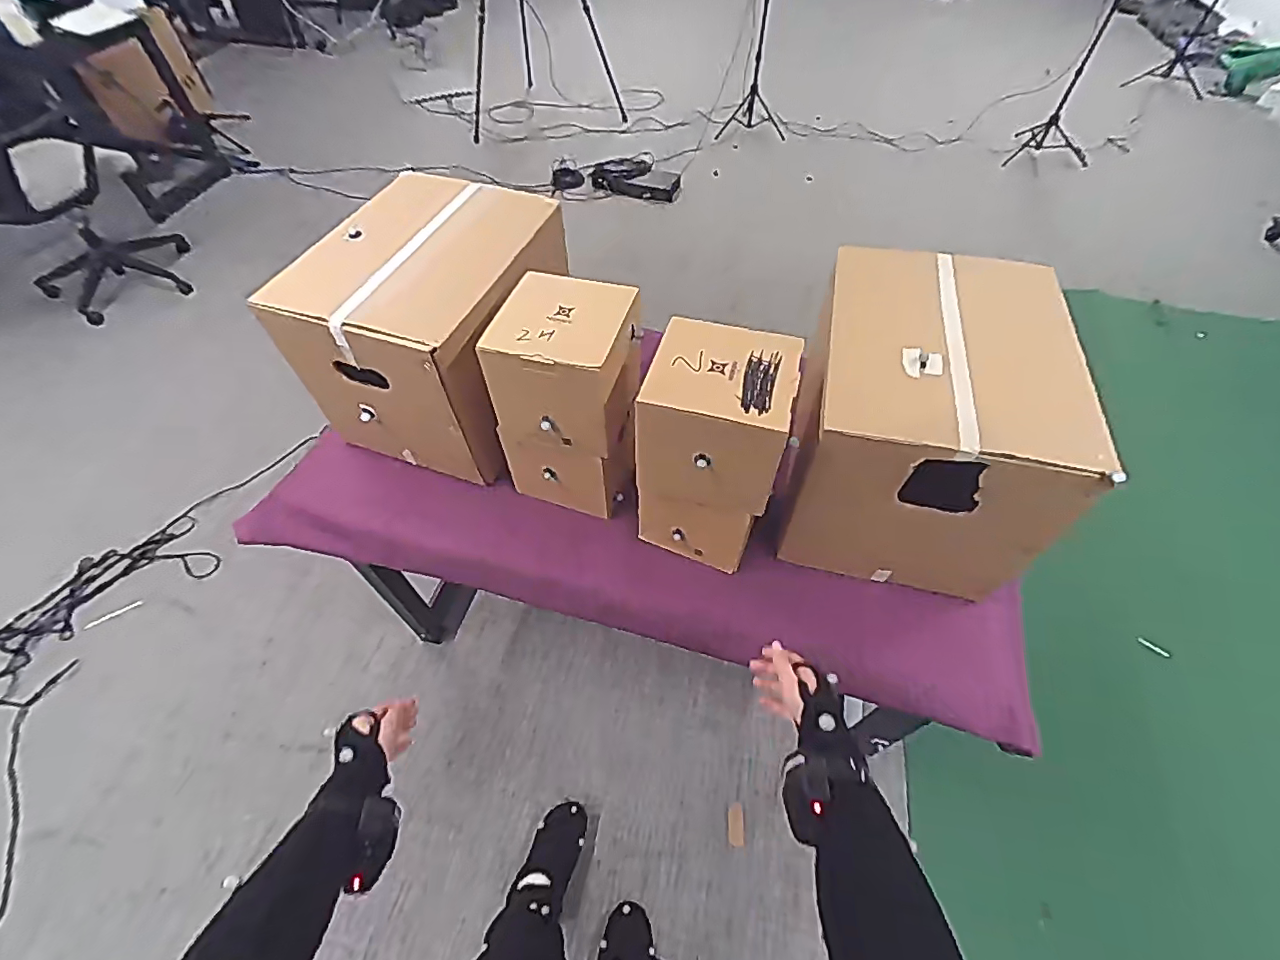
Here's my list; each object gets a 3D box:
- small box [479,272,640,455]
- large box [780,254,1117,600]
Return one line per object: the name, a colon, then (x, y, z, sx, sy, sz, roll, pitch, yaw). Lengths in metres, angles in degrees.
small box: (-0.102, -0.165, 0.771, 0.168, 0.176, 0.179, 12, 54, 10)
large box: (0.411, -0.086, 0.832, 0.320, 0.320, 0.408, 10, 54, 11)
